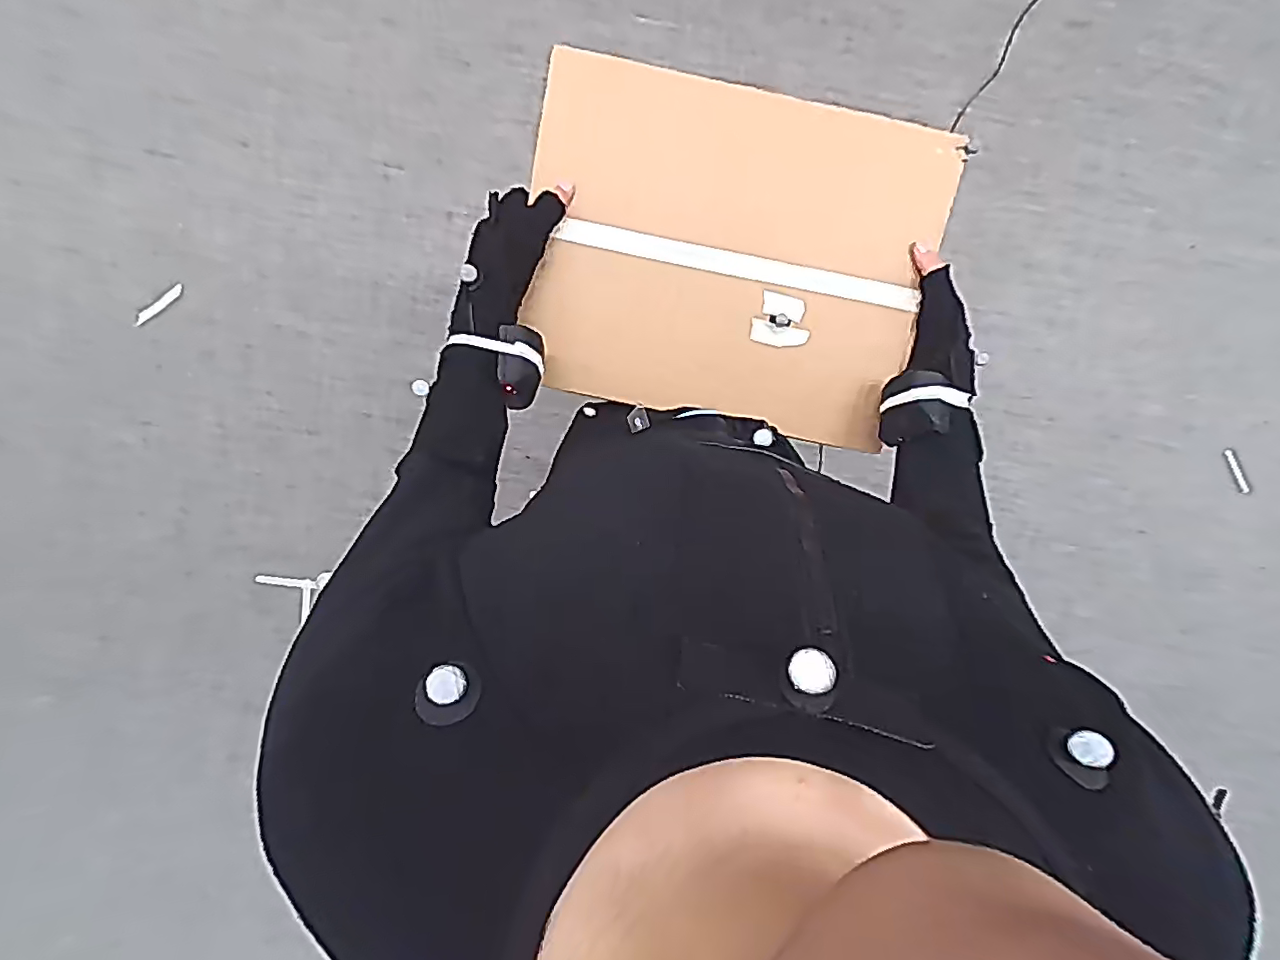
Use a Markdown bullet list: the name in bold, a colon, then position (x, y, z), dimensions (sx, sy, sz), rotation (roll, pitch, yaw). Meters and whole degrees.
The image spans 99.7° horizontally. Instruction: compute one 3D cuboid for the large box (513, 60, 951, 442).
- **large box**: position (0.084, -0.251, 0.698), dimensions (0.408, 0.320, 0.320), rotation (11, 102, -2)
